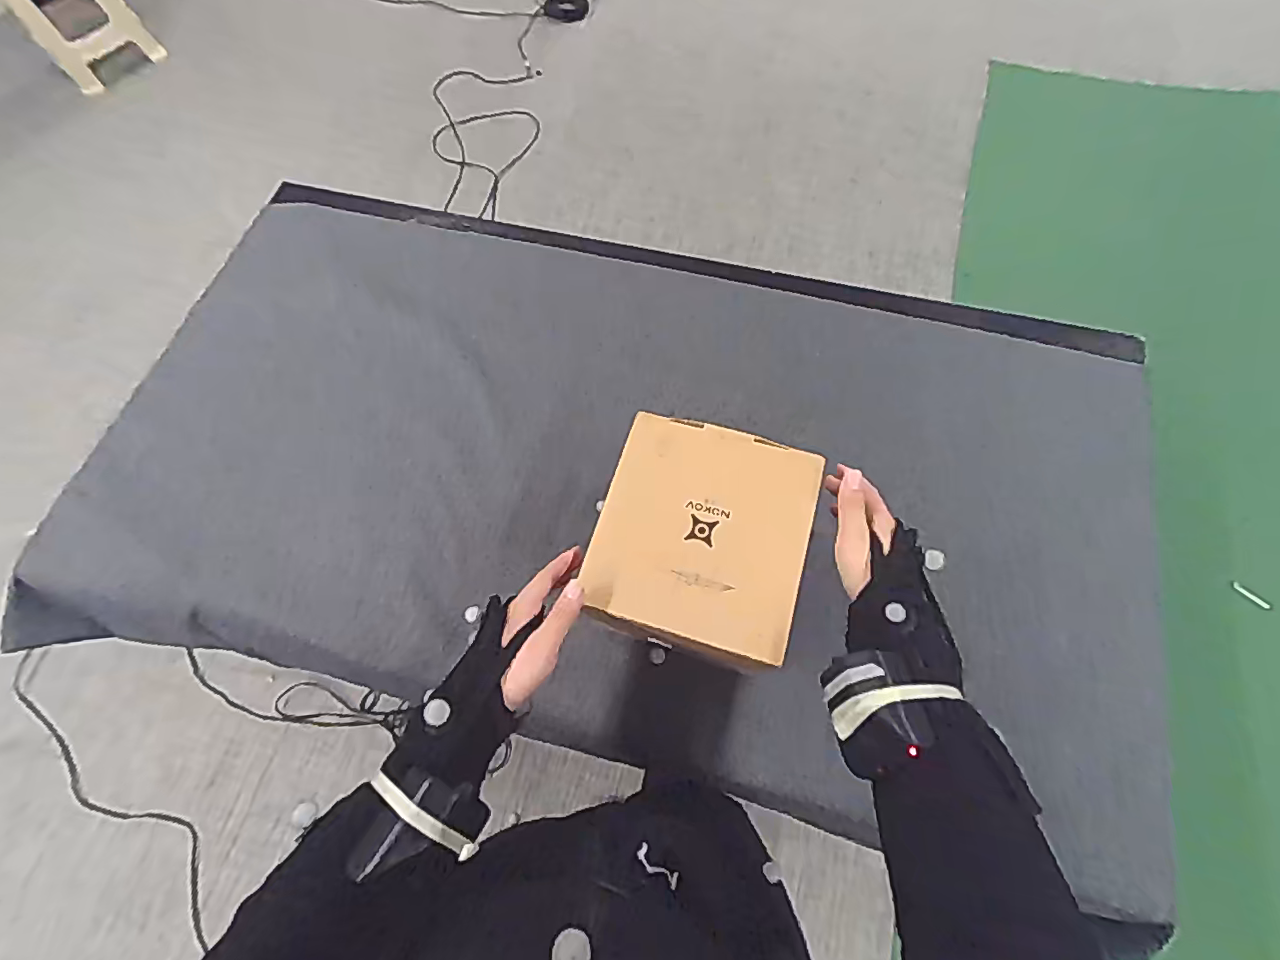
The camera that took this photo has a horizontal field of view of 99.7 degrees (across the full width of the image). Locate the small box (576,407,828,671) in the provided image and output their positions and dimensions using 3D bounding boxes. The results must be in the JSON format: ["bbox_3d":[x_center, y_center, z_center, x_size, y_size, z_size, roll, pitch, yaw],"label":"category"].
[{"bbox_3d":[0.057,0.063,0.497,0.168,0.176,0.179,14,70,10],"label":"small box"}]
